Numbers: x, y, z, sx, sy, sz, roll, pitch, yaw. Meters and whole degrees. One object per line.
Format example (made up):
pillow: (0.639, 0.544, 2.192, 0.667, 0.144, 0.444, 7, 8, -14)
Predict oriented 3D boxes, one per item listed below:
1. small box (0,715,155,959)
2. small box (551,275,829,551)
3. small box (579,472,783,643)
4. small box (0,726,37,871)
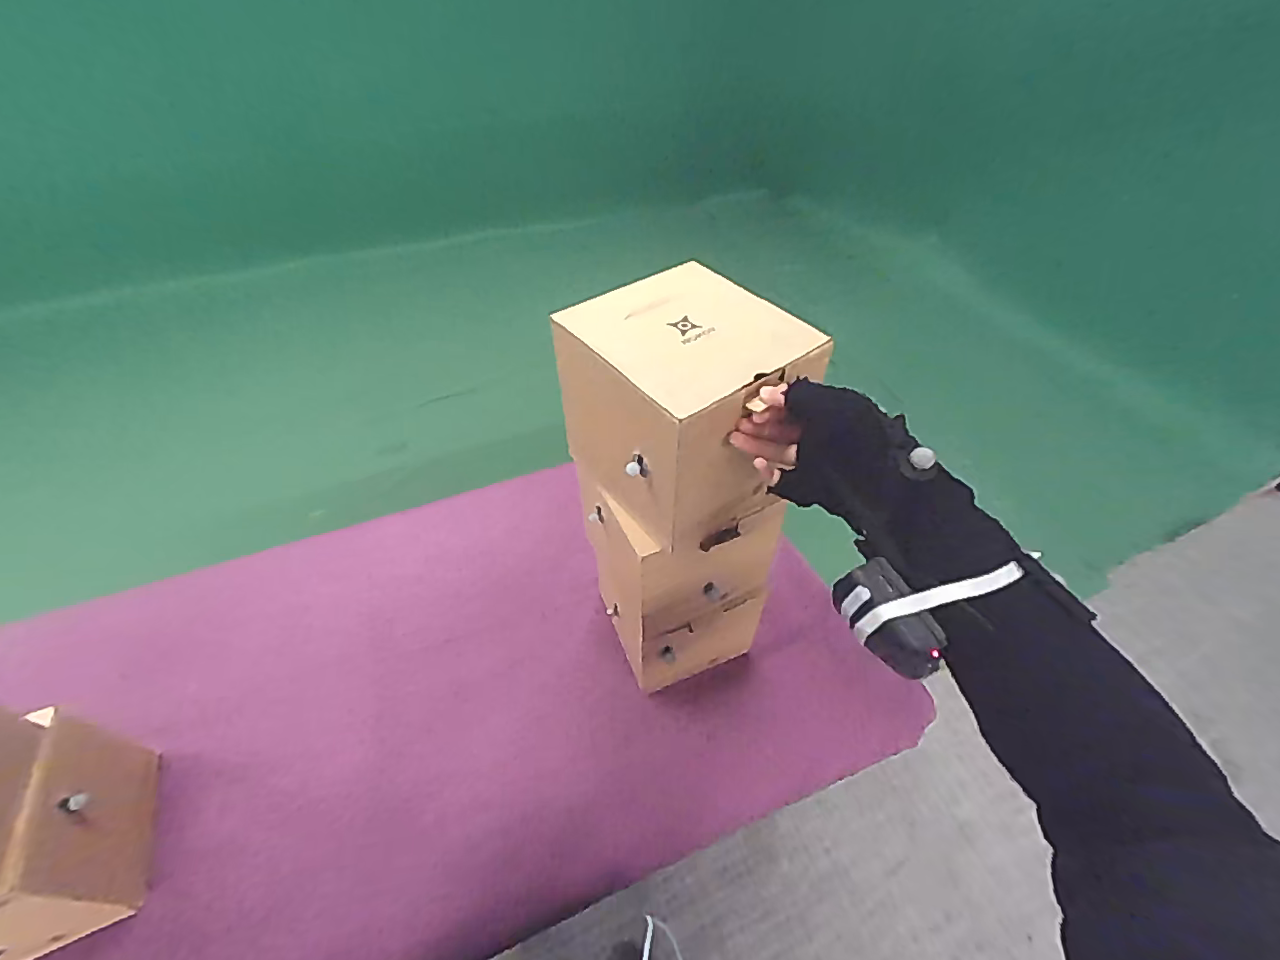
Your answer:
small box: (-0.648, 0.381, 0.554, 0.168, 0.176, 0.179, -19, 53, -17)
small box: (0.039, -0.058, 0.506, 0.168, 0.176, 0.179, -29, 54, -24)
small box: (0.034, 0.054, 0.626, 0.168, 0.176, 0.179, -20, 51, -16)
small box: (-0.647, 0.287, 0.419, 0.168, 0.176, 0.179, -15, 51, -14)
